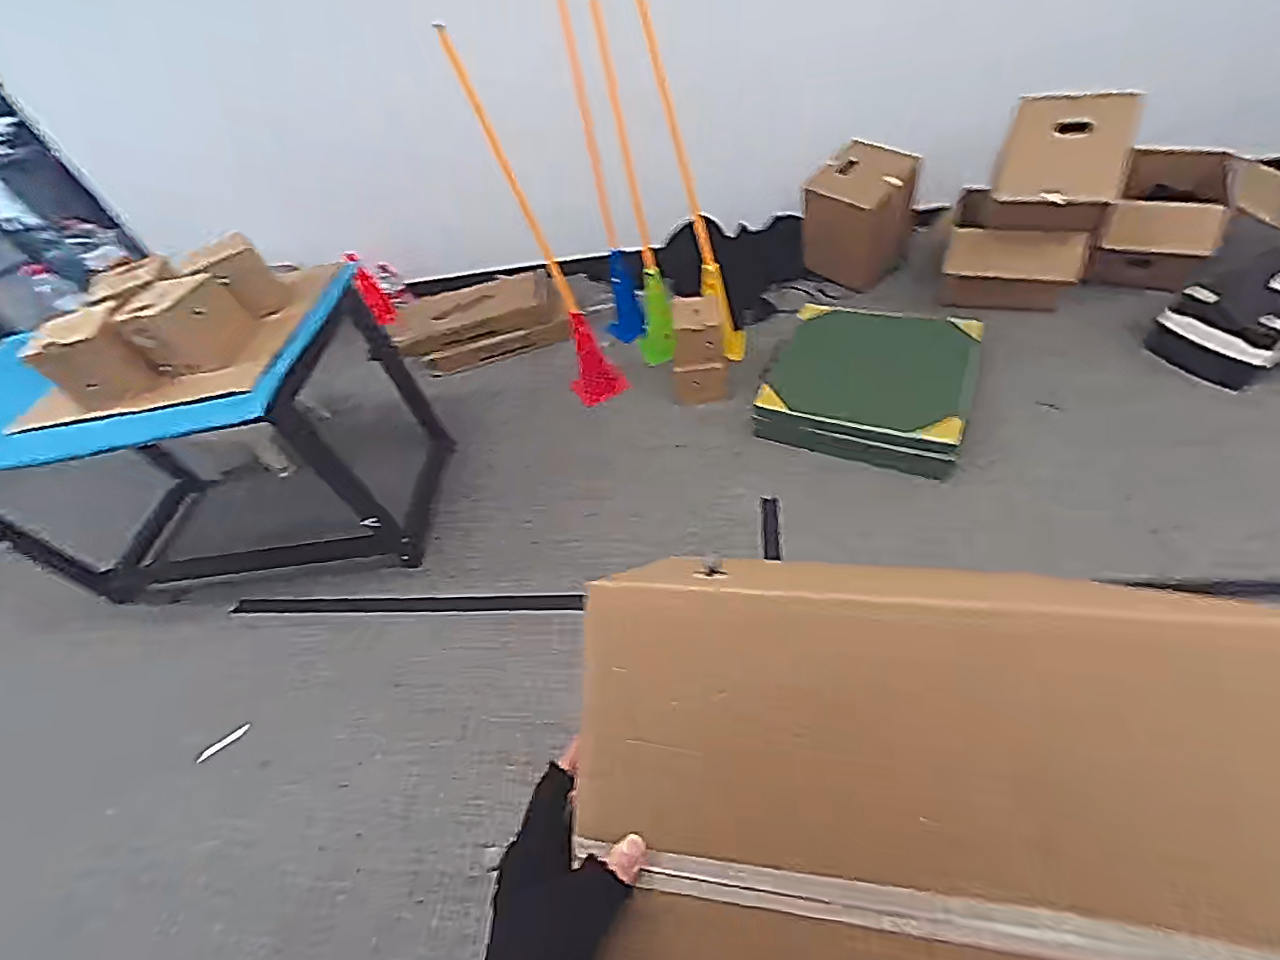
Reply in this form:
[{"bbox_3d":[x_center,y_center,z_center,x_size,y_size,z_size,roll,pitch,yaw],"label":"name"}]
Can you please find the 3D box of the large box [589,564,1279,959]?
[{"bbox_3d":[0.195,0.234,0.430,0.408,0.320,0.320,1,86,13],"label":"large box"}]
